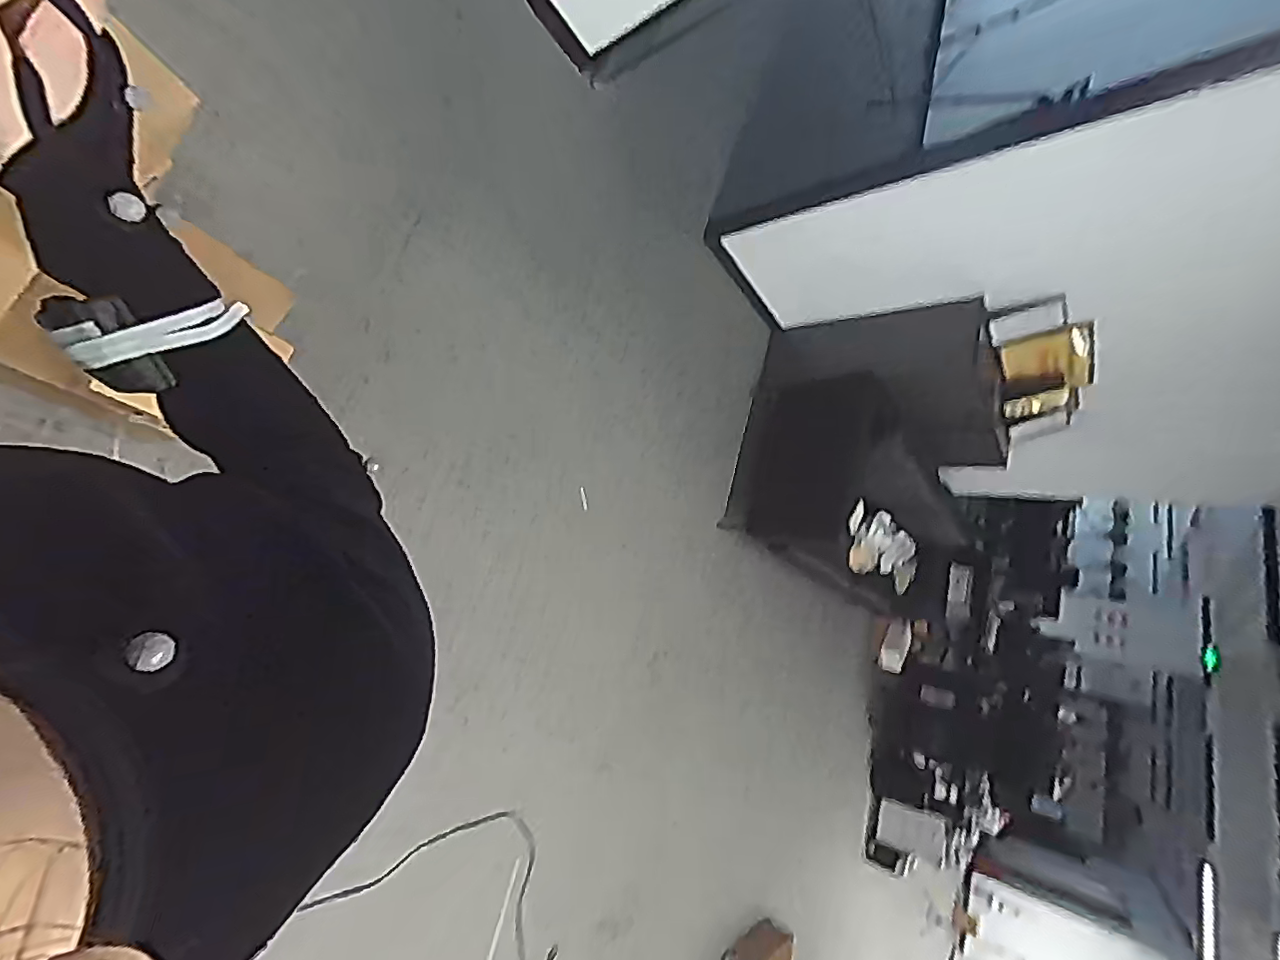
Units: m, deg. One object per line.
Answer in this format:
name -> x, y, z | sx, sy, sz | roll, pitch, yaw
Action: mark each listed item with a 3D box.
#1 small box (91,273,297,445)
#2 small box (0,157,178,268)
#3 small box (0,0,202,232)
small box -> -0.650, -0.163, 0.788 | 0.168, 0.176, 0.179 | 36, 65, -45
small box -> -0.740, -0.395, 0.671 | 0.179, 0.176, 0.168 | 46, 59, -41
small box -> -0.616, -0.394, 0.563 | 0.168, 0.176, 0.179 | 47, 56, -40
